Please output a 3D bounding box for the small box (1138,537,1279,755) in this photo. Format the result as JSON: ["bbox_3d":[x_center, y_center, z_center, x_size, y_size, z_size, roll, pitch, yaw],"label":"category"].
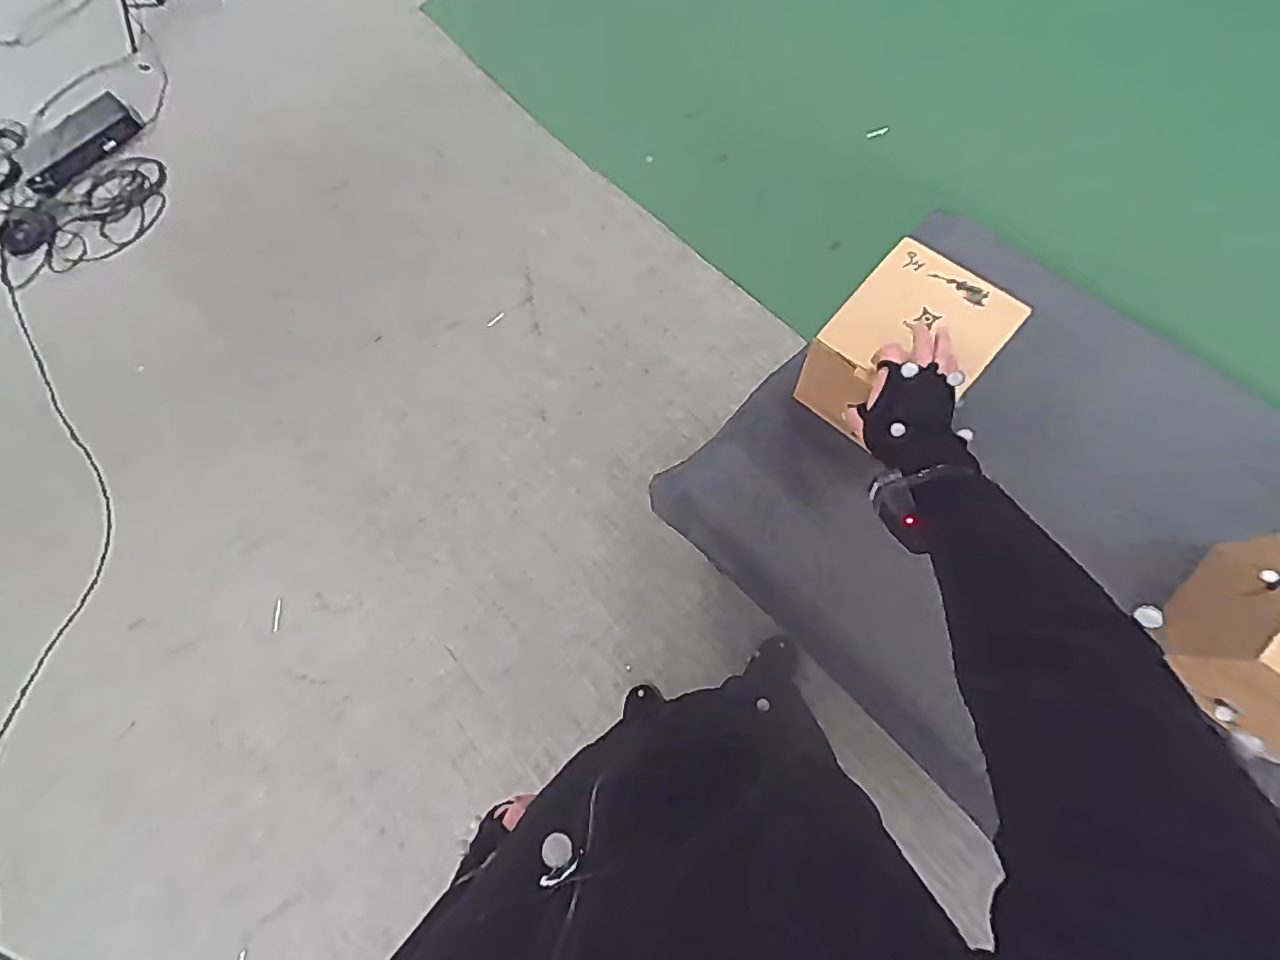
[{"bbox_3d":[0.676,0.167,0.543,0.168,0.176,0.179,43,86,16],"label":"small box"}]

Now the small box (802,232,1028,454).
[{"bbox_3d":[0.324,-0.159,0.683,0.168,0.176,0.179,41,84,16],"label":"small box"}]
